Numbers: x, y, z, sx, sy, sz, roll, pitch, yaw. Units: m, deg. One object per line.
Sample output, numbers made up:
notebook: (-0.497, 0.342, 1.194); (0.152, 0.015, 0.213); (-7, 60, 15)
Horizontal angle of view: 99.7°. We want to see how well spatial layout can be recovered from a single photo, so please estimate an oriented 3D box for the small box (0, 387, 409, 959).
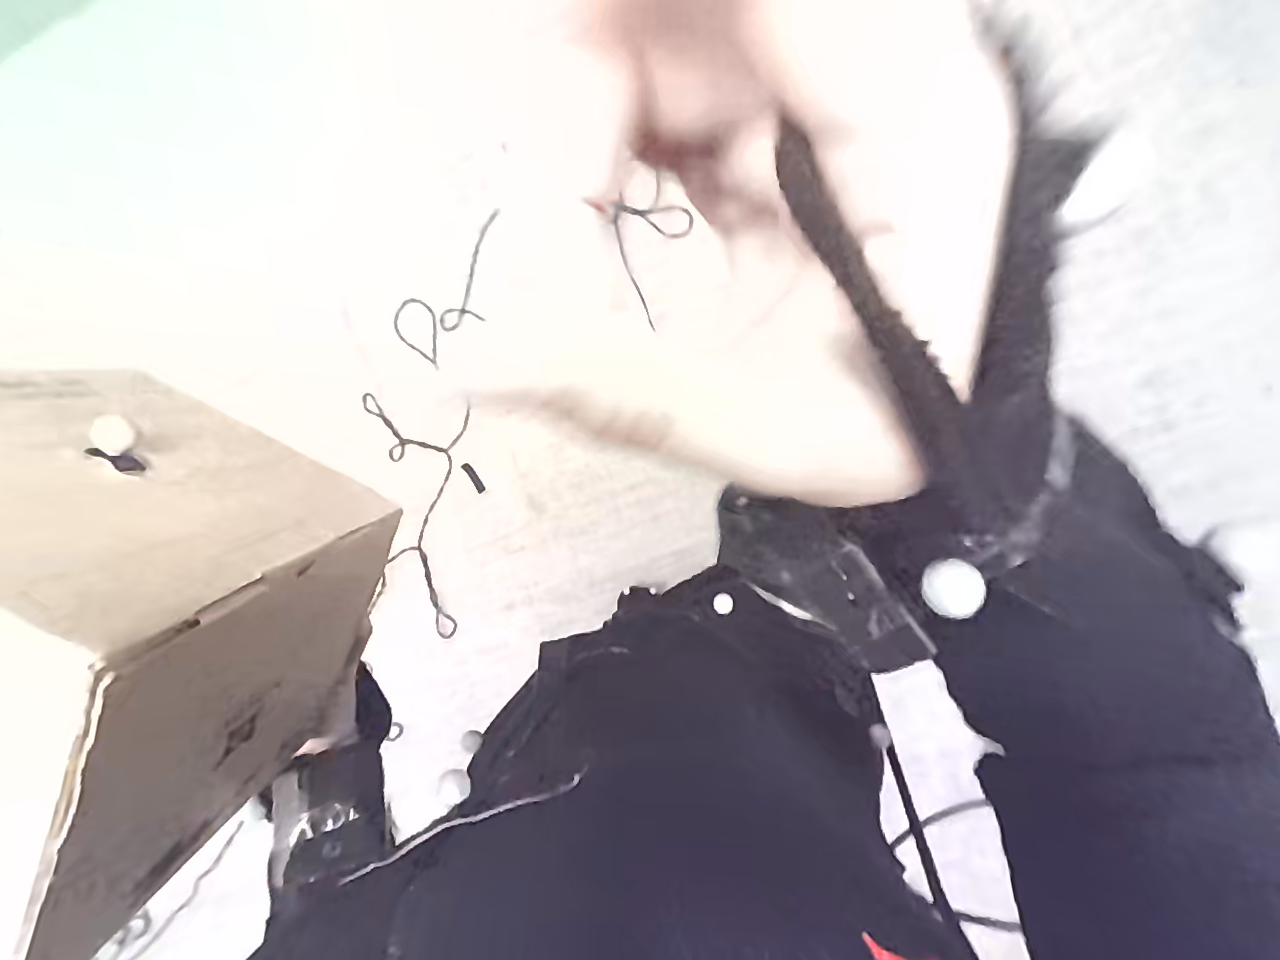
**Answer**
small box: (-0.248, 0.065, 0.251); (0.176, 0.168, 0.179); (27, 103, -2)
